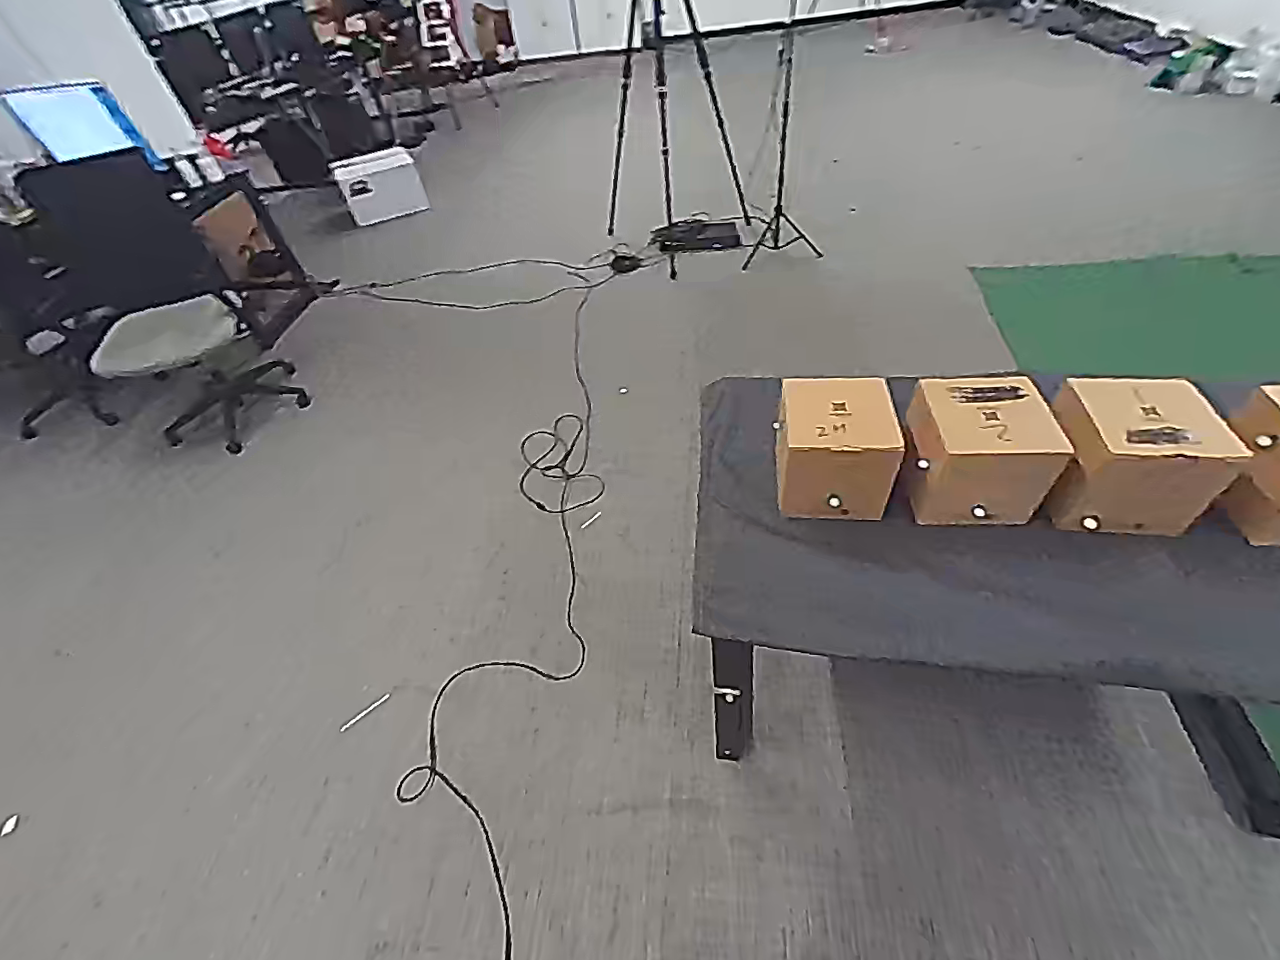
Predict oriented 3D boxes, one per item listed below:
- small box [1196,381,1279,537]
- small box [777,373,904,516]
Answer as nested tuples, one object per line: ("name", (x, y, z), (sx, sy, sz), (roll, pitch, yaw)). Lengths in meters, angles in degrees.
("small box", (0.980, -0.024, 0.775), (0.168, 0.176, 0.179), (1, 48, 10))
("small box", (0.322, -0.061, 0.908), (0.168, 0.176, 0.179), (1, 48, 10))
